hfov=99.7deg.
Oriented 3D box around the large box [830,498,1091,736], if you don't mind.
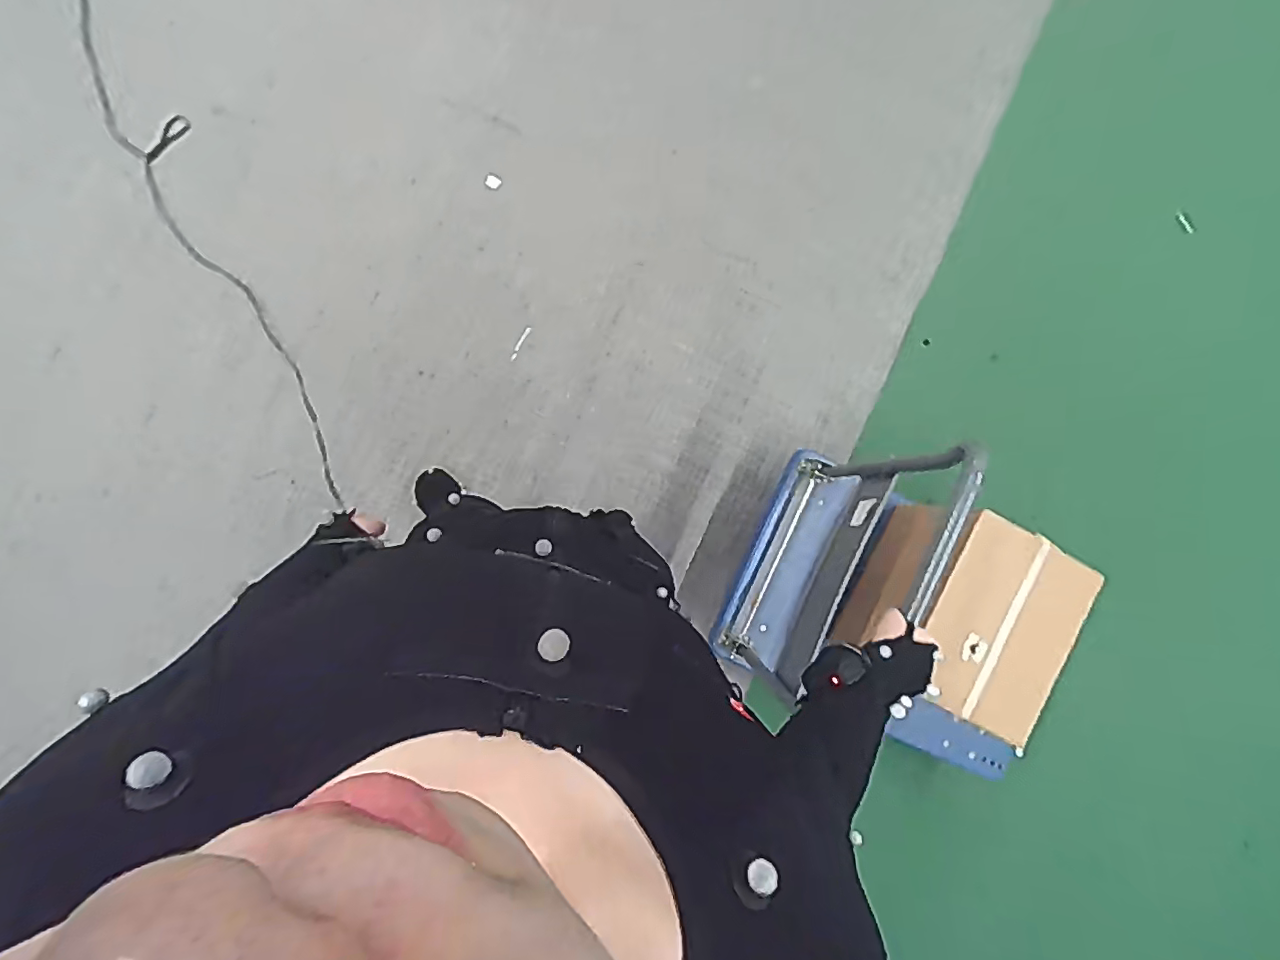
[{"bbox_3d":[0.723,0.290,1.272,0.320,0.320,0.408,29,87,-5],"label":"large box"}]
